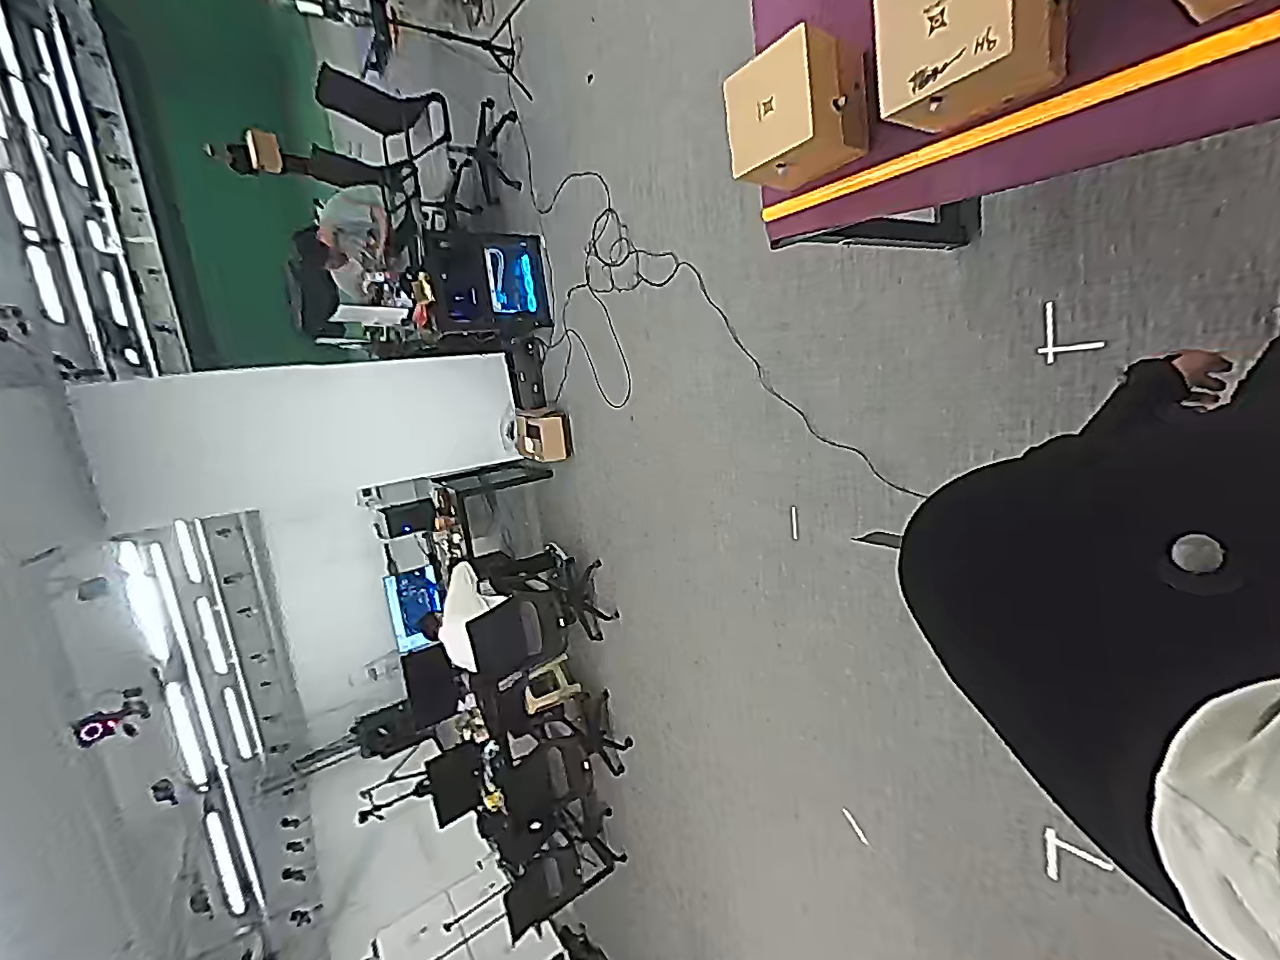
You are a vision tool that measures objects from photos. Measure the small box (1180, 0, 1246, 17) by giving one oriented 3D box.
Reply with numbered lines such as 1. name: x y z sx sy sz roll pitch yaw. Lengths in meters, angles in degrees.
1. small box: 0.593 -0.569 0.480 0.179 0.176 0.168 6 106 55

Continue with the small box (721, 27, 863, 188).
1. small box: 0.270 -0.631 0.943 0.179 0.176 0.168 5 106 55

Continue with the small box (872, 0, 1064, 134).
1. small box: 0.431 -0.594 0.715 0.168 0.176 0.179 9 109 56
